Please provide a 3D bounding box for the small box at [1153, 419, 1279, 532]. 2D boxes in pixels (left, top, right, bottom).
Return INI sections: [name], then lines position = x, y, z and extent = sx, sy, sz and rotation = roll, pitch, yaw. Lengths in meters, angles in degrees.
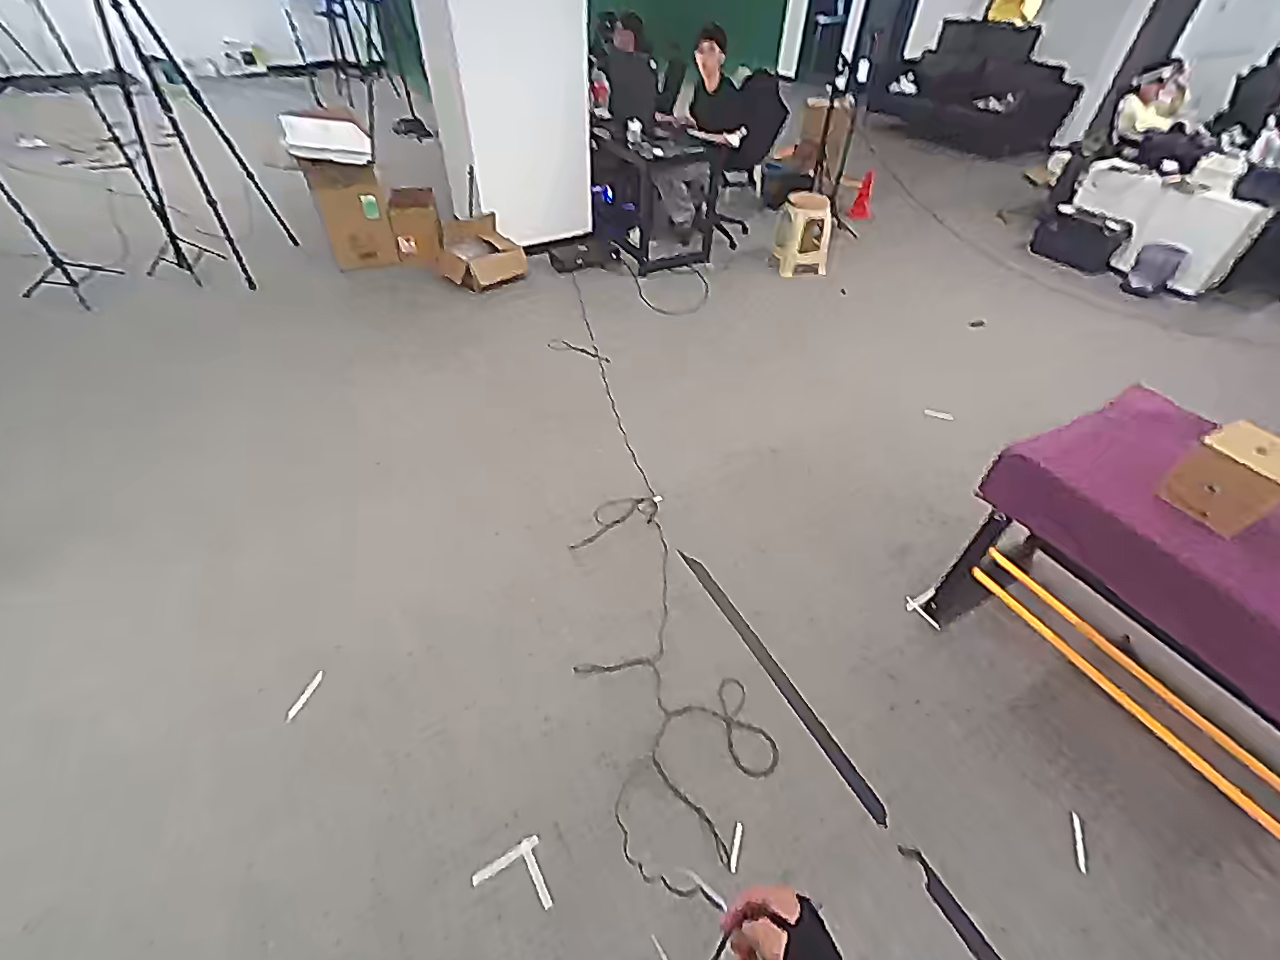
[small box]
position = 1.347, -0.007, 1.238
extent = 0.179, 0.176, 0.168
rotation = -18, 49, -20
